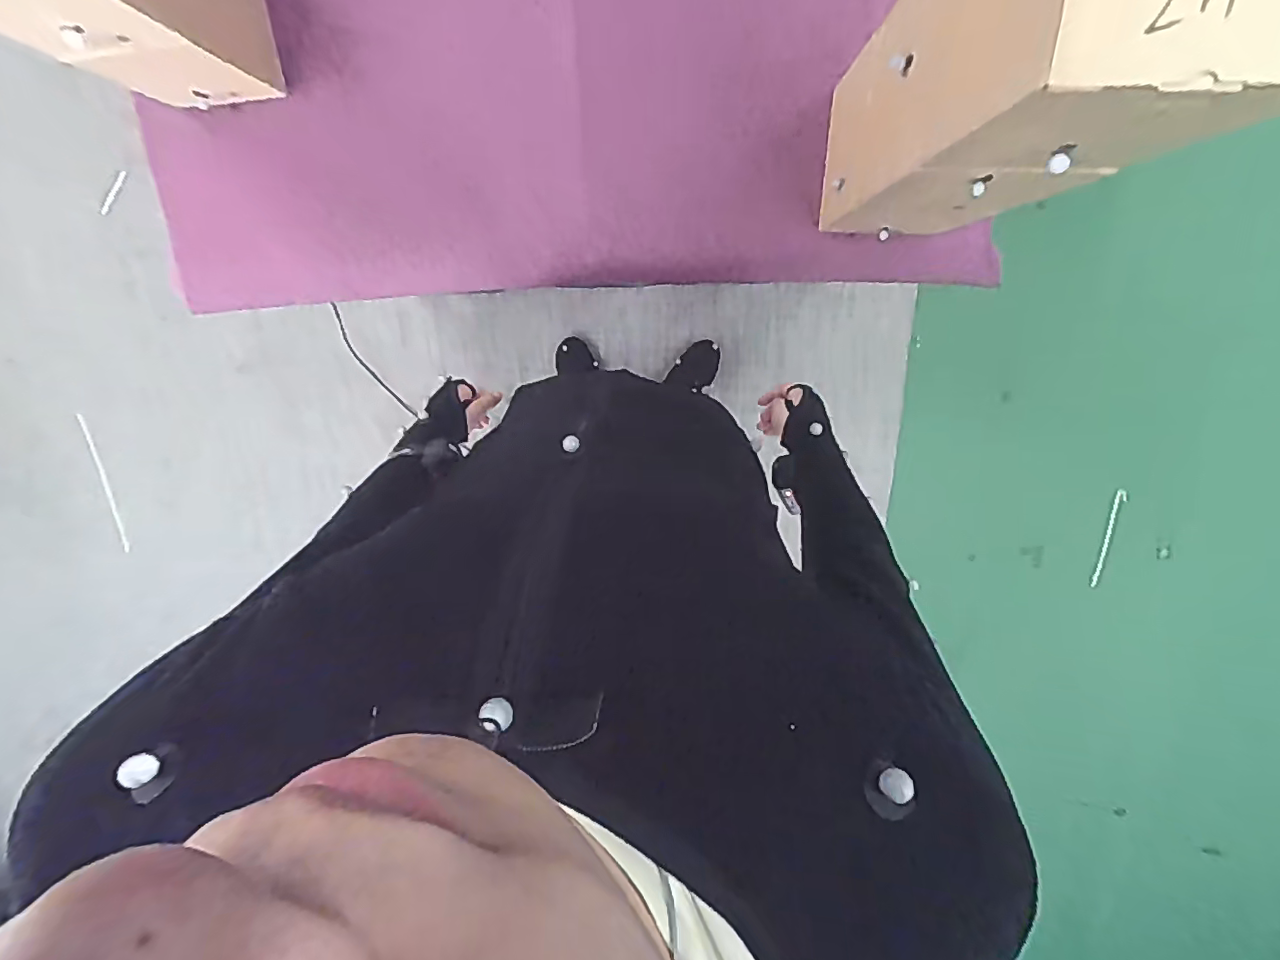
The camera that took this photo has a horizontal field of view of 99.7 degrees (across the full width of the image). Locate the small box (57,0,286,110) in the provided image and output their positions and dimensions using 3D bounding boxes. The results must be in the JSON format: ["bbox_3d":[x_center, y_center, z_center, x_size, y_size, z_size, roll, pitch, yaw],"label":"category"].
[{"bbox_3d":[-0.584,-0.590,0.665,0.168,0.176,0.179,-3,108,5],"label":"small box"}]

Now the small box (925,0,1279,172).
[{"bbox_3d":[0.310,-0.318,0.346,0.168,0.176,0.179,3,107,4],"label":"small box"}]

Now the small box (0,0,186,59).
[{"bbox_3d":[-0.593,-0.543,0.509,0.168,0.176,0.179,-3,108,5],"label":"small box"}]

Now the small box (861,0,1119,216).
[{"bbox_3d":[0.322,-0.362,0.505,0.168,0.176,0.179,3,106,4],"label":"small box"}]
